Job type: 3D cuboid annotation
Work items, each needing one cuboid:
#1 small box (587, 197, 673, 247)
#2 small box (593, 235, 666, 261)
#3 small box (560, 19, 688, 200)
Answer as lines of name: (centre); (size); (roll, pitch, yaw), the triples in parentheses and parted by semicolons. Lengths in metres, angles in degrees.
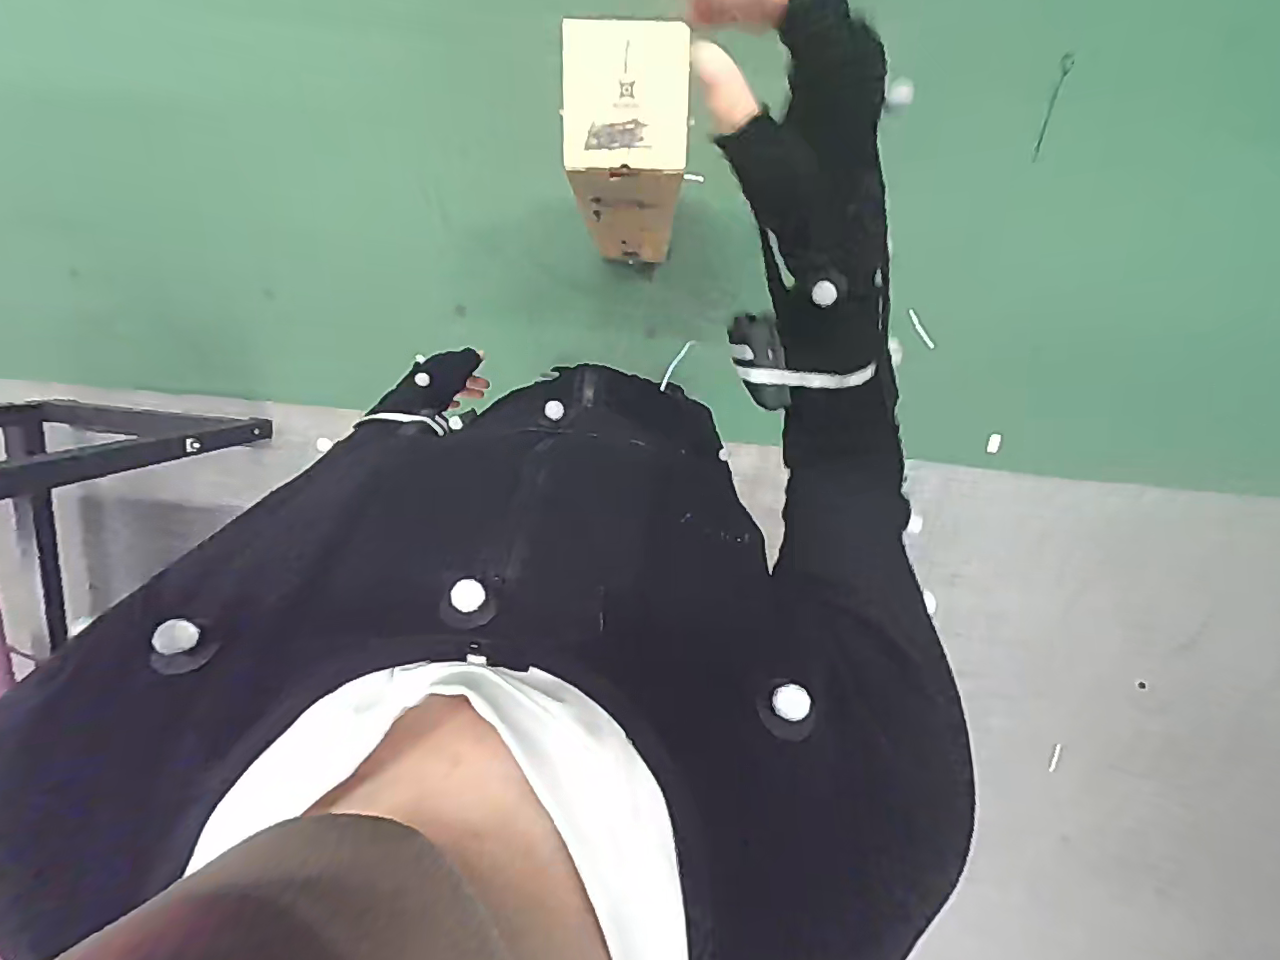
small box: (-0.019, -0.588, 1.100); (0.168, 0.176, 0.179); (2, 104, -1)
small box: (-0.018, -0.624, 1.258); (0.168, 0.176, 0.179); (4, 103, -1)
small box: (-0.019, -0.515, 0.779); (0.168, 0.176, 0.179); (-2, 104, 0)
